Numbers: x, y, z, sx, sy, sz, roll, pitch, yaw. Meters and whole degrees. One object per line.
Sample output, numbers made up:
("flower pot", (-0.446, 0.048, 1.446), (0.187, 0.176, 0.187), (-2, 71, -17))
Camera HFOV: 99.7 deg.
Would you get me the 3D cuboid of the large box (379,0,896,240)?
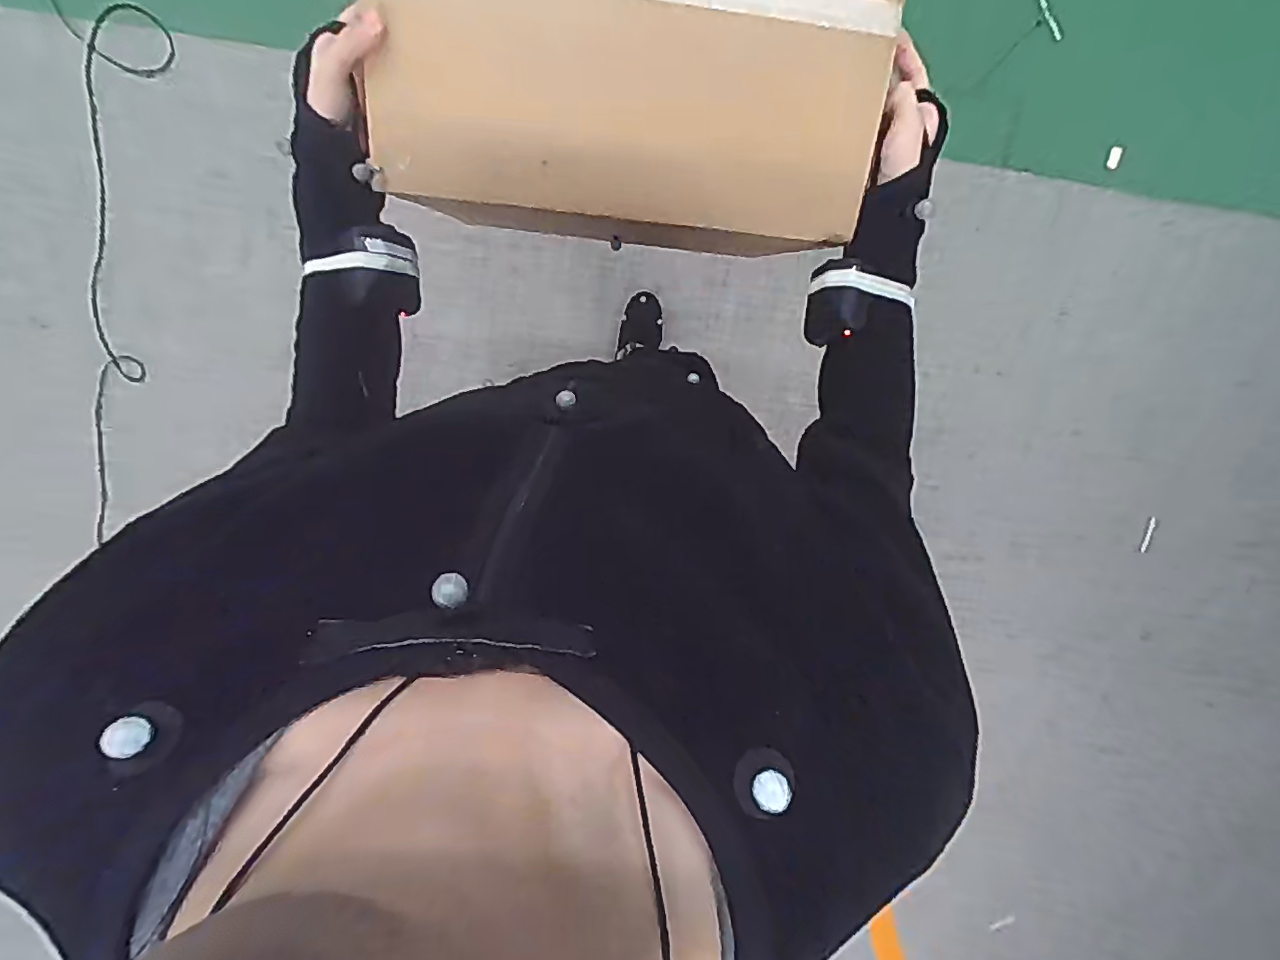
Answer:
("large box", (-0.004, -0.430, 0.550), (0.408, 0.320, 0.320), (4, 110, -5))
